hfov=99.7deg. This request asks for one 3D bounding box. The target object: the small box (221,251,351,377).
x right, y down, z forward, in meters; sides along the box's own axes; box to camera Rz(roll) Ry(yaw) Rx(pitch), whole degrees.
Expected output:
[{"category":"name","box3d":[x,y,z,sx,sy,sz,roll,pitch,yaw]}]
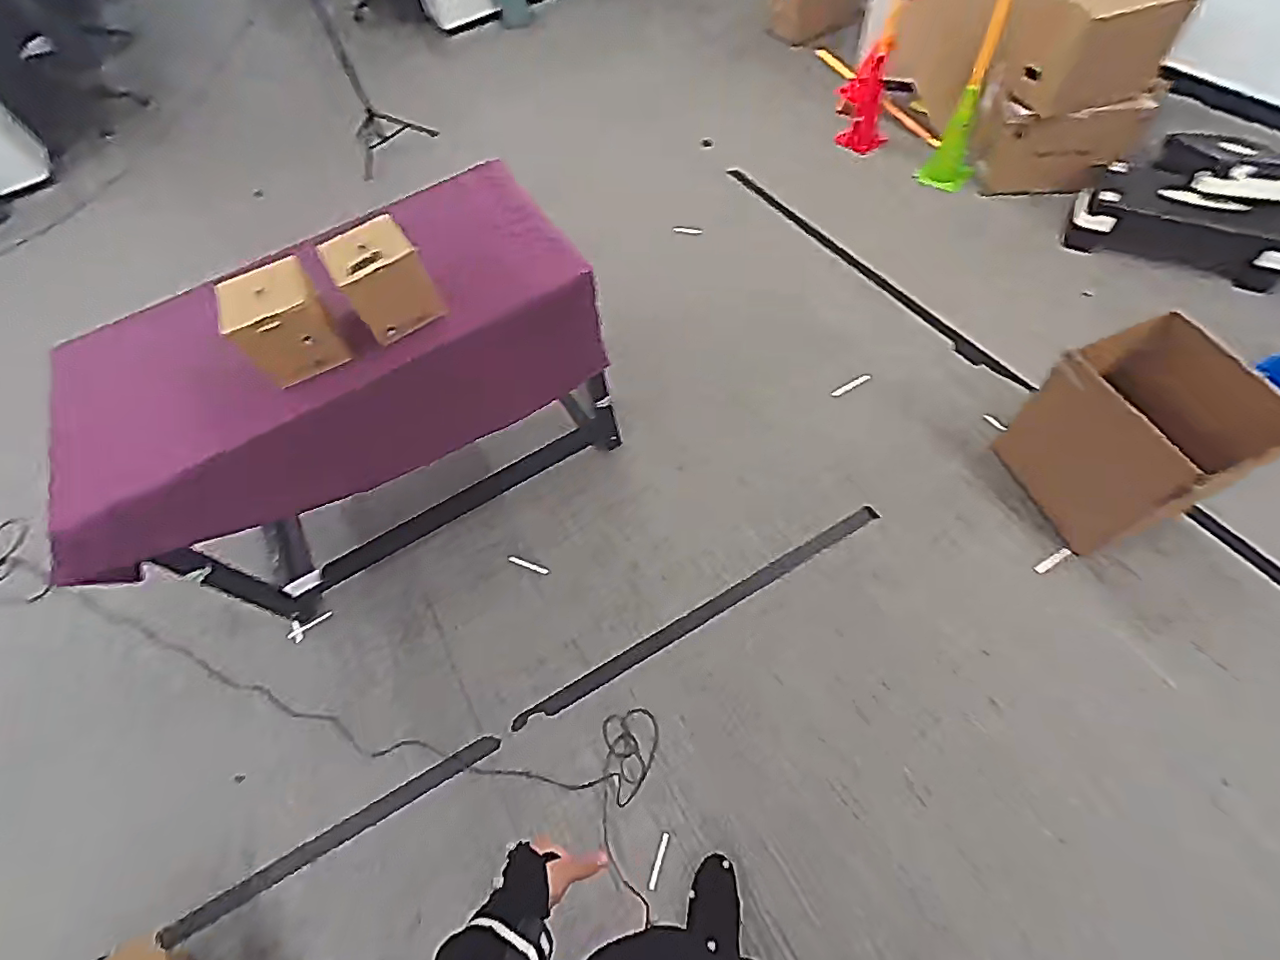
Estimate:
[{"category":"small box","box3d":[-0.749,-0.345,1.157,0.168,0.176,0.179,-25,60,-8]}]

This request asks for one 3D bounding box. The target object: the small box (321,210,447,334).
[{"category":"small box","box3d":[-0.556,-0.448,1.190,0.168,0.176,0.179,-32,60,-11]}]
